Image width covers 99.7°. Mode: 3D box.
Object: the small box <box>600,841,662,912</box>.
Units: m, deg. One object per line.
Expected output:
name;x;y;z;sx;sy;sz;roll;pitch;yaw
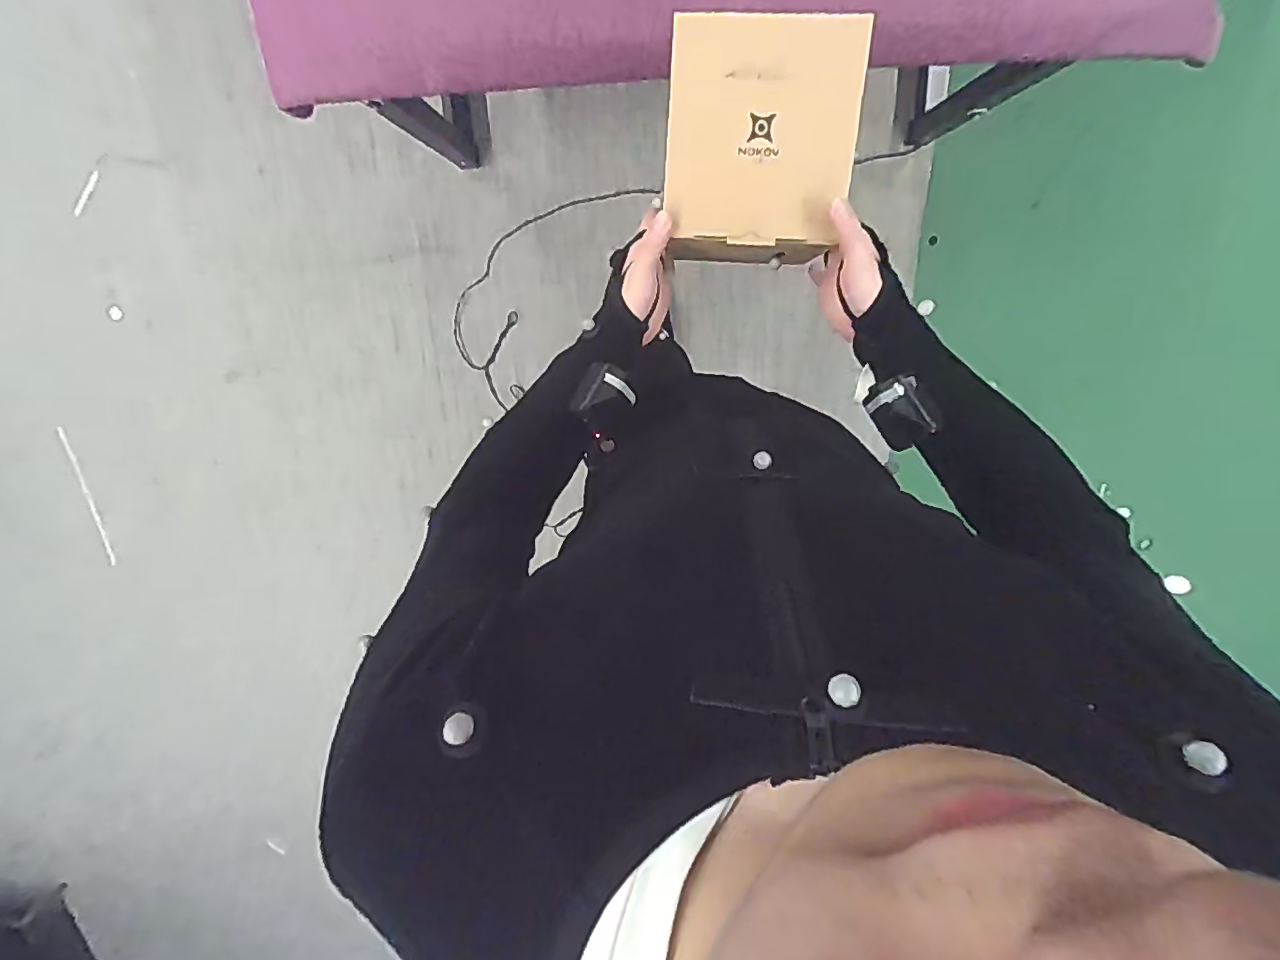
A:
small box;-0.024;1.170;1.537;0.168;0.176;0.179;3;111;1

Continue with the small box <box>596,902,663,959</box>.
small box;-0.029;1.225;1.384;0.168;0.176;0.179;3;109;2
